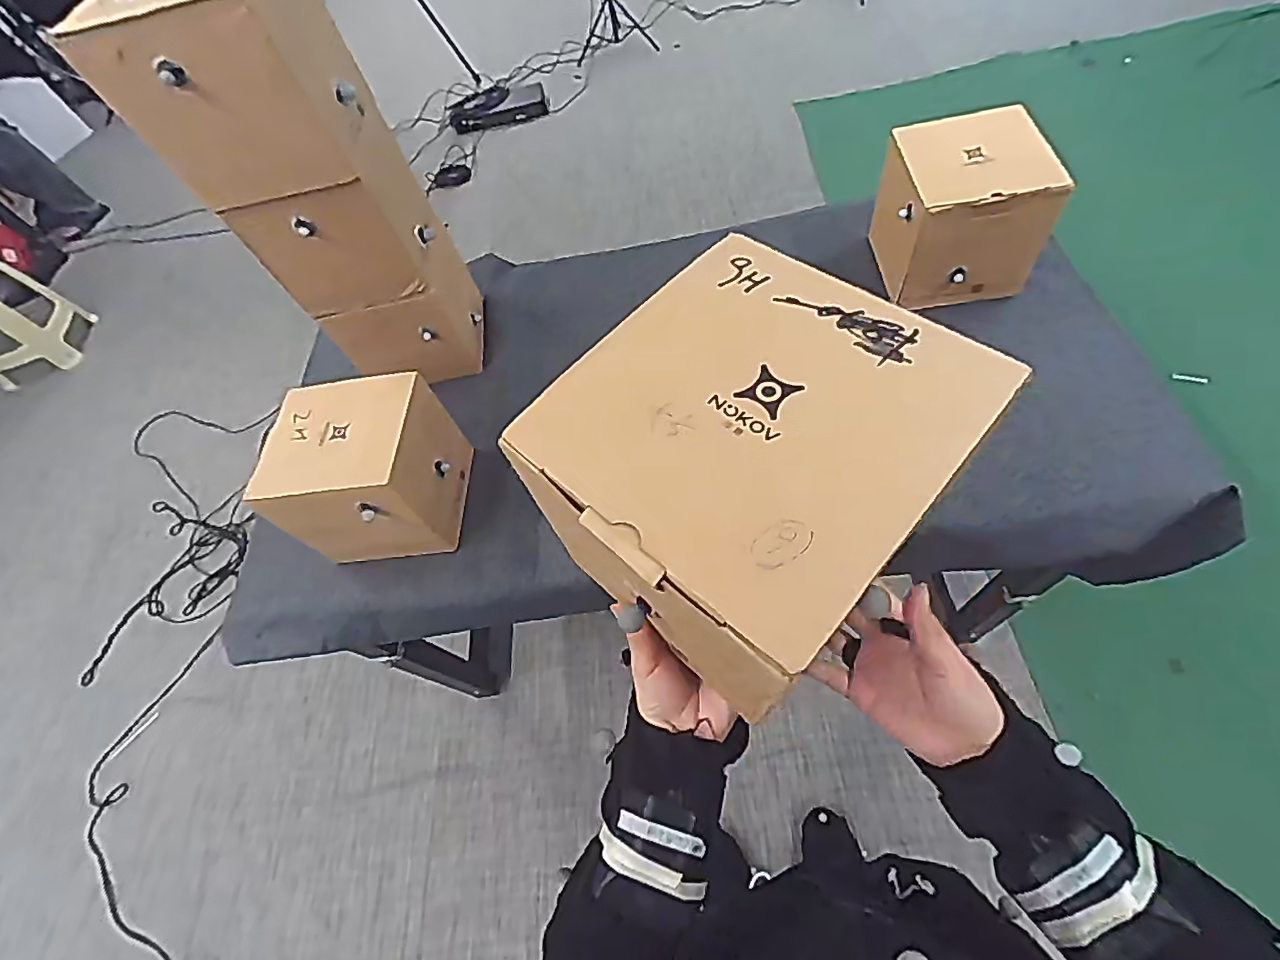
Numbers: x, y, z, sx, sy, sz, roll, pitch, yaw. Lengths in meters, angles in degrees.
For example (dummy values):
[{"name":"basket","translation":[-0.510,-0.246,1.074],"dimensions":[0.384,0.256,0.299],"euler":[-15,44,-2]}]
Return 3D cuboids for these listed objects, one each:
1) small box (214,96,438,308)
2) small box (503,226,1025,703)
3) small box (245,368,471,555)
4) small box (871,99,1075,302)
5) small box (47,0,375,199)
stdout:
[{"name":"small box","translation":[-0.387,-0.349,0.701],"dimensions":[0.179,0.176,0.168],"euler":[-11,62,3]},{"name":"small box","translation":[0.061,0.002,0.310],"dimensions":[0.168,0.176,0.179],"euler":[37,73,24]},{"name":"small box","translation":[-0.335,-0.016,0.687],"dimensions":[0.179,0.176,0.168],"euler":[-7,57,7]},{"name":"small box","translation":[0.433,-0.376,0.743],"dimensions":[0.168,0.176,0.179],"euler":[-6,61,8]},{"name":"small box","translation":[-0.409,-0.420,0.554],"dimensions":[0.179,0.176,0.168],"euler":[-10,62,4]}]
